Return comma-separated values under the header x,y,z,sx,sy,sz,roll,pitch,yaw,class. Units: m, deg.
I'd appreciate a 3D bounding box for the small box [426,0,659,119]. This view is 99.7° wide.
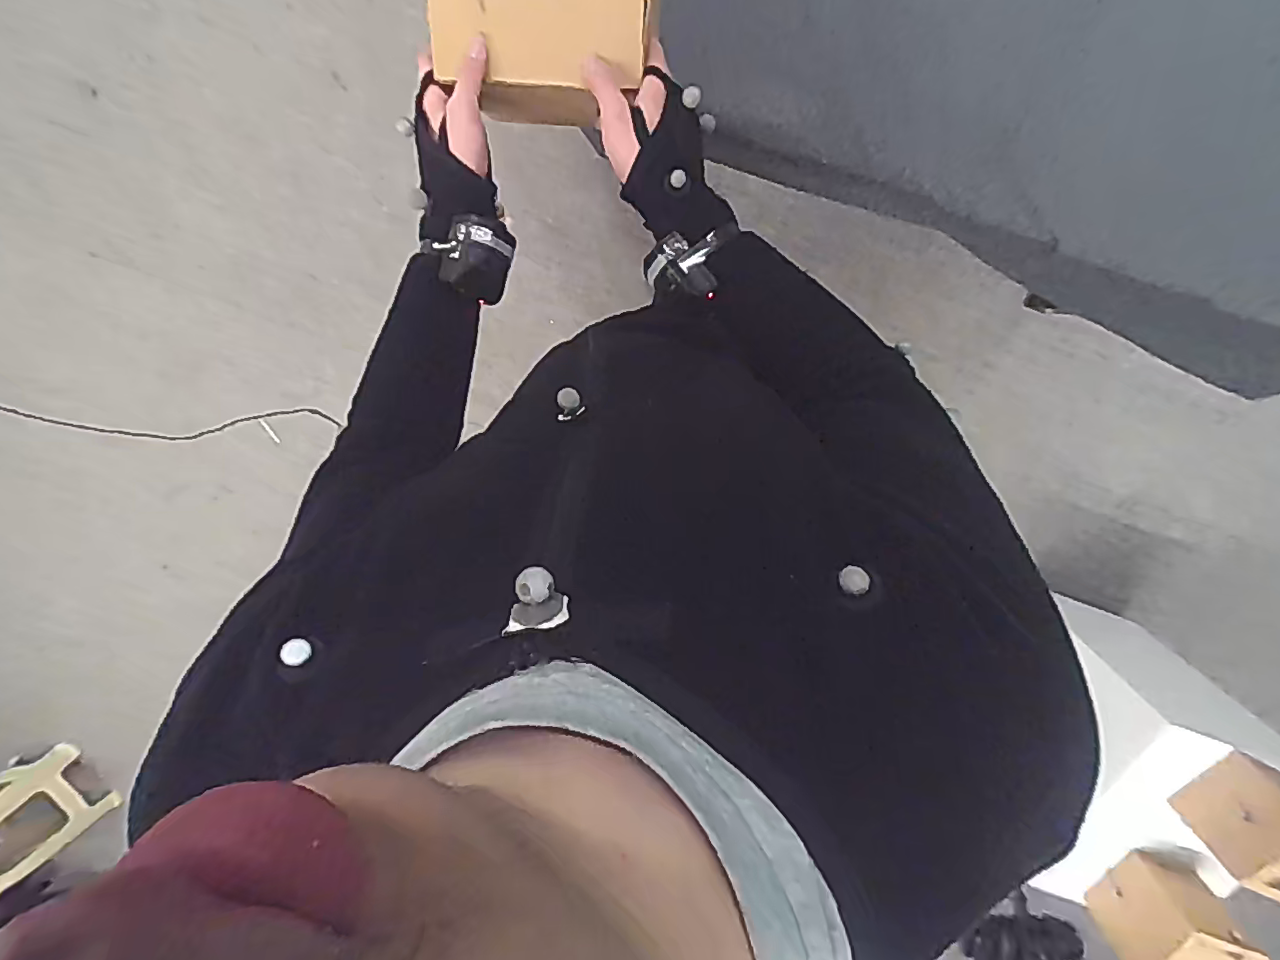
x,y,z,sx,sy,sz,roll,pitch,yaw,class
-0.071,-0.429,0.467,0.179,0.176,0.168,4,112,2,small box

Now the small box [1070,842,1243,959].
x,y,z,sx,sy,sz,roll,pitch,yaw,class
1.075,0.924,1.150,0.168,0.176,0.179,21,110,-5,small box

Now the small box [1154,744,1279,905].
x,y,z,sx,sy,sz,roll,pitch,yaw,class
1.166,0.658,1.045,0.168,0.176,0.179,28,109,-8,small box
